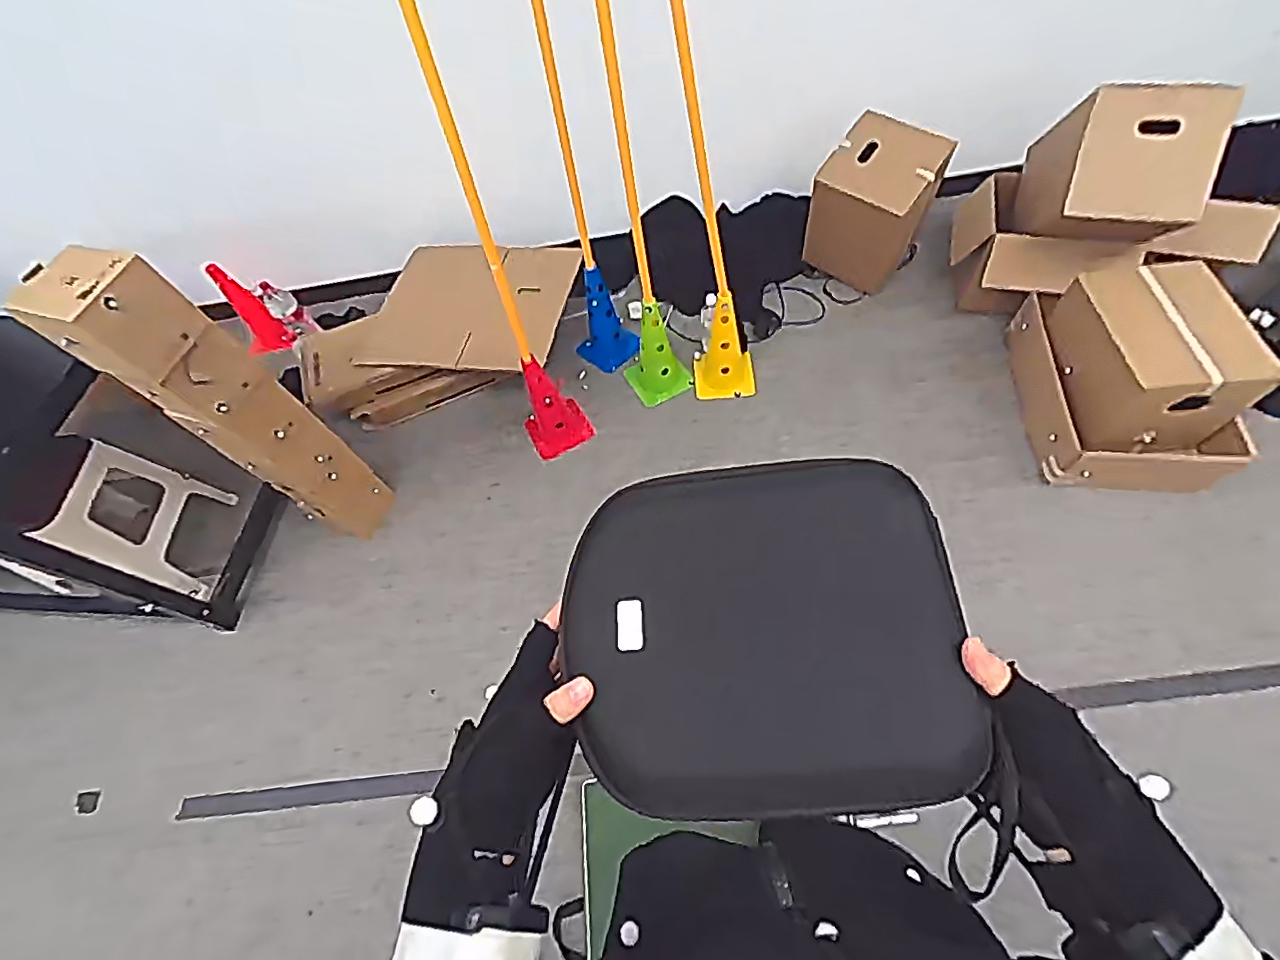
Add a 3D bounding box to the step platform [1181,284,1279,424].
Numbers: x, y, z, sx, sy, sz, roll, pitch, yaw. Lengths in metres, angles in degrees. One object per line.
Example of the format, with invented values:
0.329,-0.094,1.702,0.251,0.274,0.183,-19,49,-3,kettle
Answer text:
2.006,-0.461,1.607,0.684,0.204,0.286,-34,61,-11,step platform
